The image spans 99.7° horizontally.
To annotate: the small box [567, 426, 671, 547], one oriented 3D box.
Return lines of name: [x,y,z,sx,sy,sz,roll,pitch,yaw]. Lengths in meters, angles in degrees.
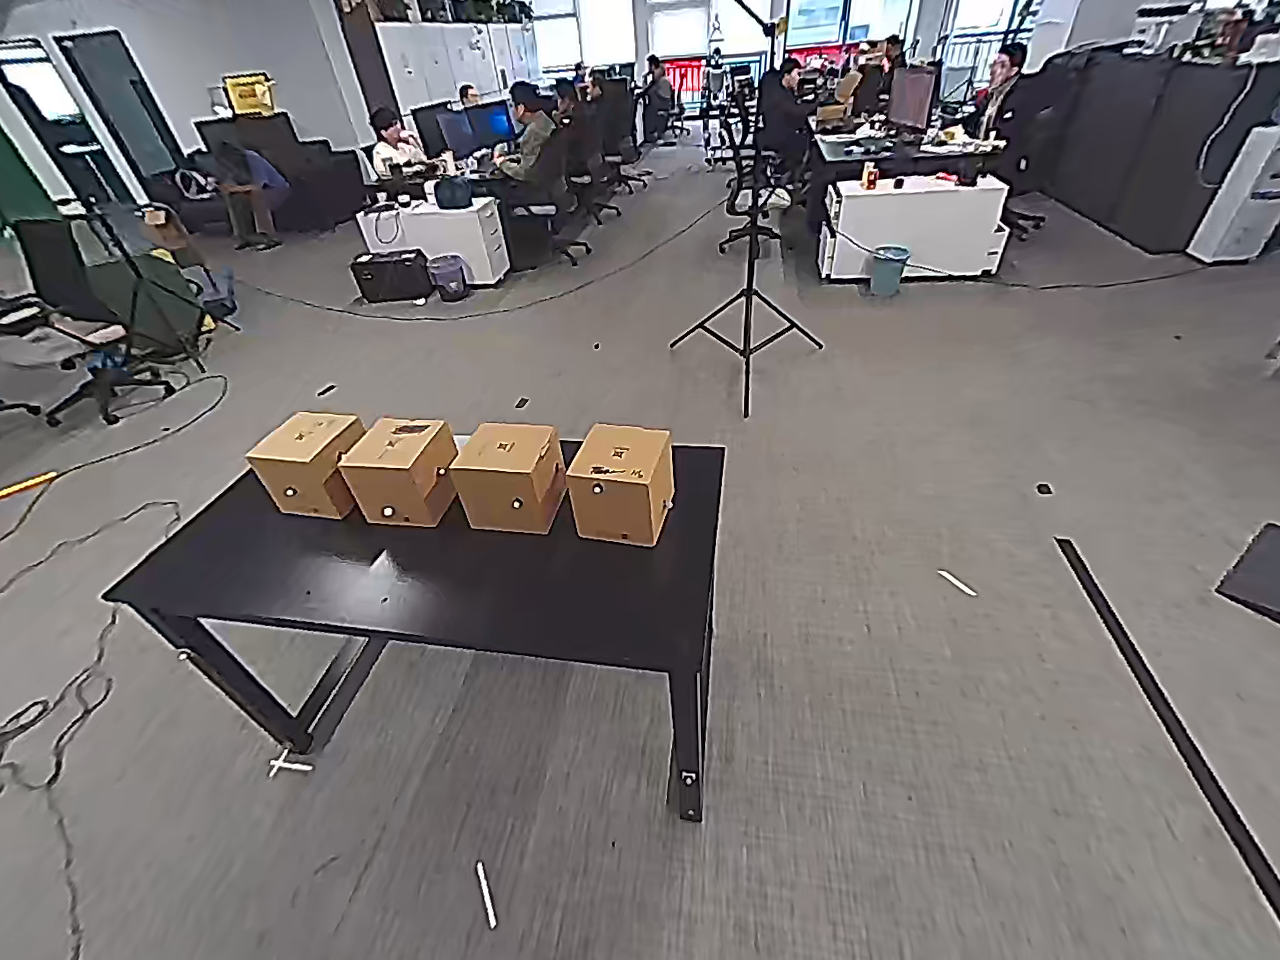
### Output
small box: [-0.034,0.011,1.111,0.168,0.176,0.179,6,40,15]

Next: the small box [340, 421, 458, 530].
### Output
small box: [-0.515,-0.012,1.200,0.168,0.176,0.179,2,41,9]

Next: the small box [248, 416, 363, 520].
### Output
small box: [-0.734,-0.027,1.246,0.168,0.176,0.179,5,40,12]

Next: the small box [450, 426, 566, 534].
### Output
small box: [-0.270,0.000,1.158,0.179,0.176,0.168,2,38,11]
